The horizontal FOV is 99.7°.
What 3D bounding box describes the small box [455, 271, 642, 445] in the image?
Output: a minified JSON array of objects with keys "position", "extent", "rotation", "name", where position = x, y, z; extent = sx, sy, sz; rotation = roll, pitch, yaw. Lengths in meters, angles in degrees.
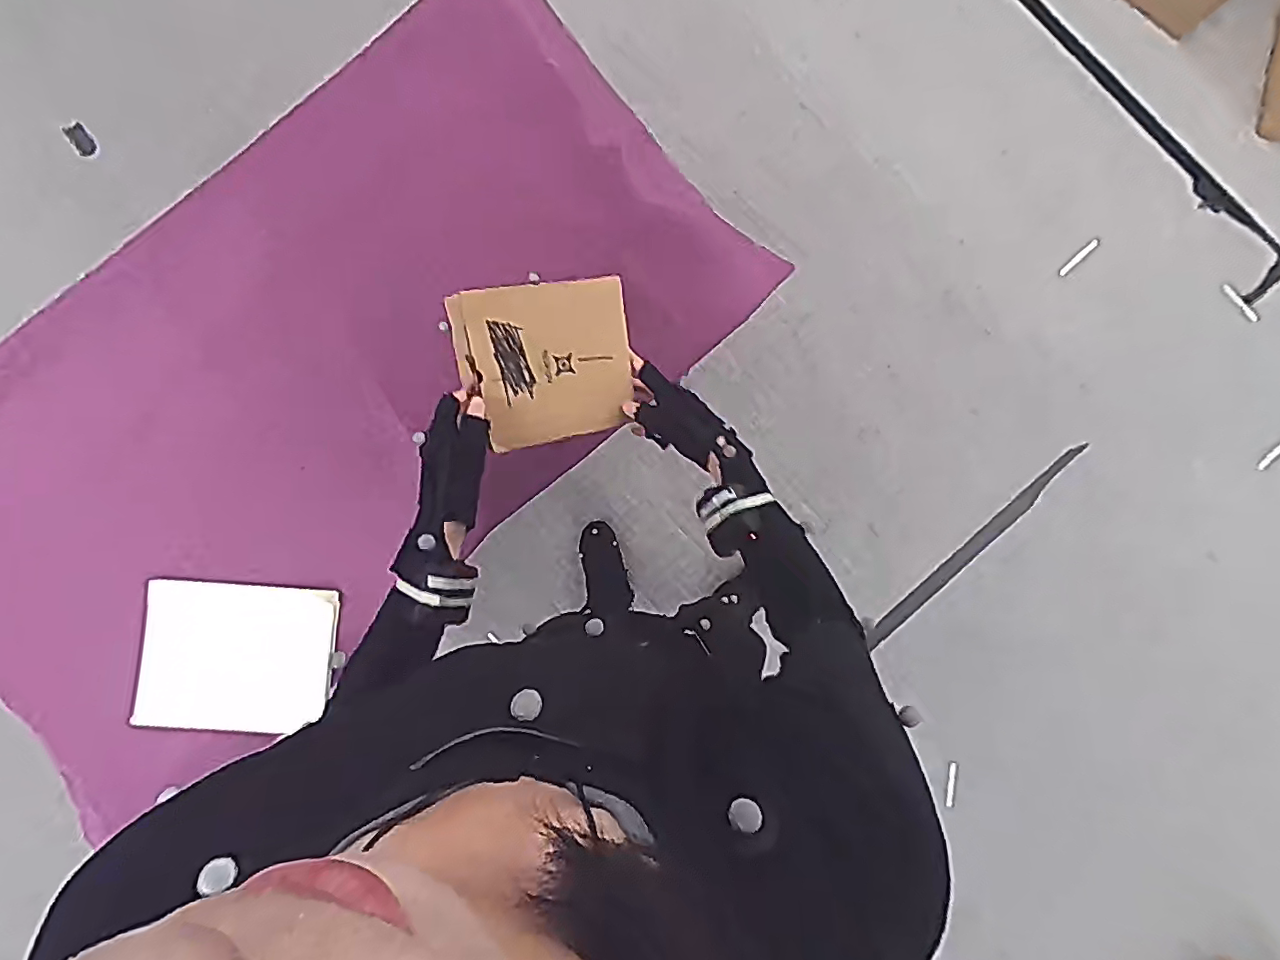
[{"position":[-0.115,-0.148,0.642],"extent":[0.179,0.176,0.168],"rotation":[-14,110,-21],"name":"small box"}]
